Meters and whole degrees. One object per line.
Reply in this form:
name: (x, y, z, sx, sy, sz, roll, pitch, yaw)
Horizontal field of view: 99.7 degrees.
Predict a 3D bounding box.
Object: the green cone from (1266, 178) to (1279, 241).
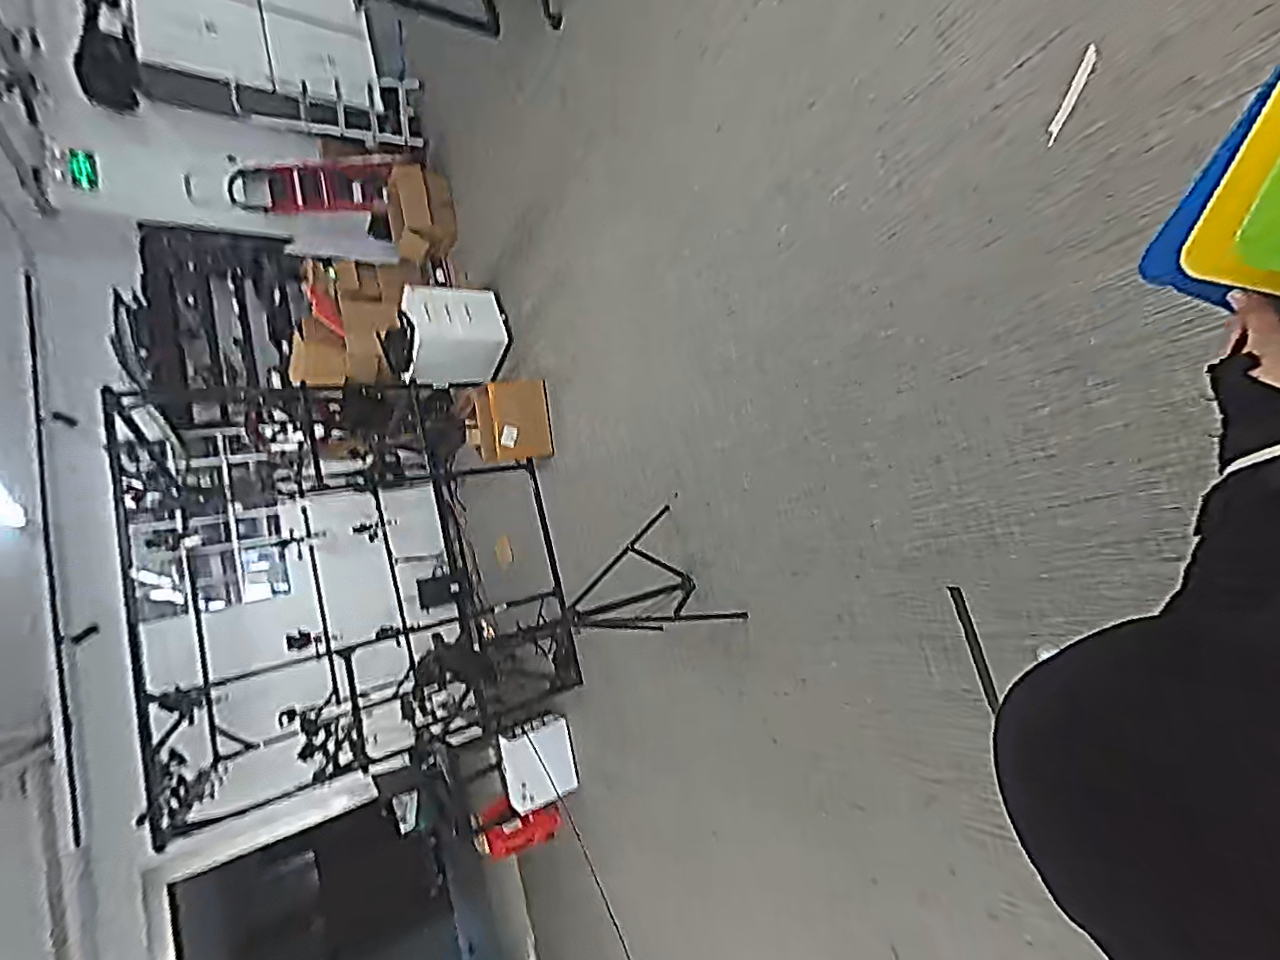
green cone: (0.390, -0.183, 0.109, 0.200, 0.368, 0.202, 25, 106, 25)
